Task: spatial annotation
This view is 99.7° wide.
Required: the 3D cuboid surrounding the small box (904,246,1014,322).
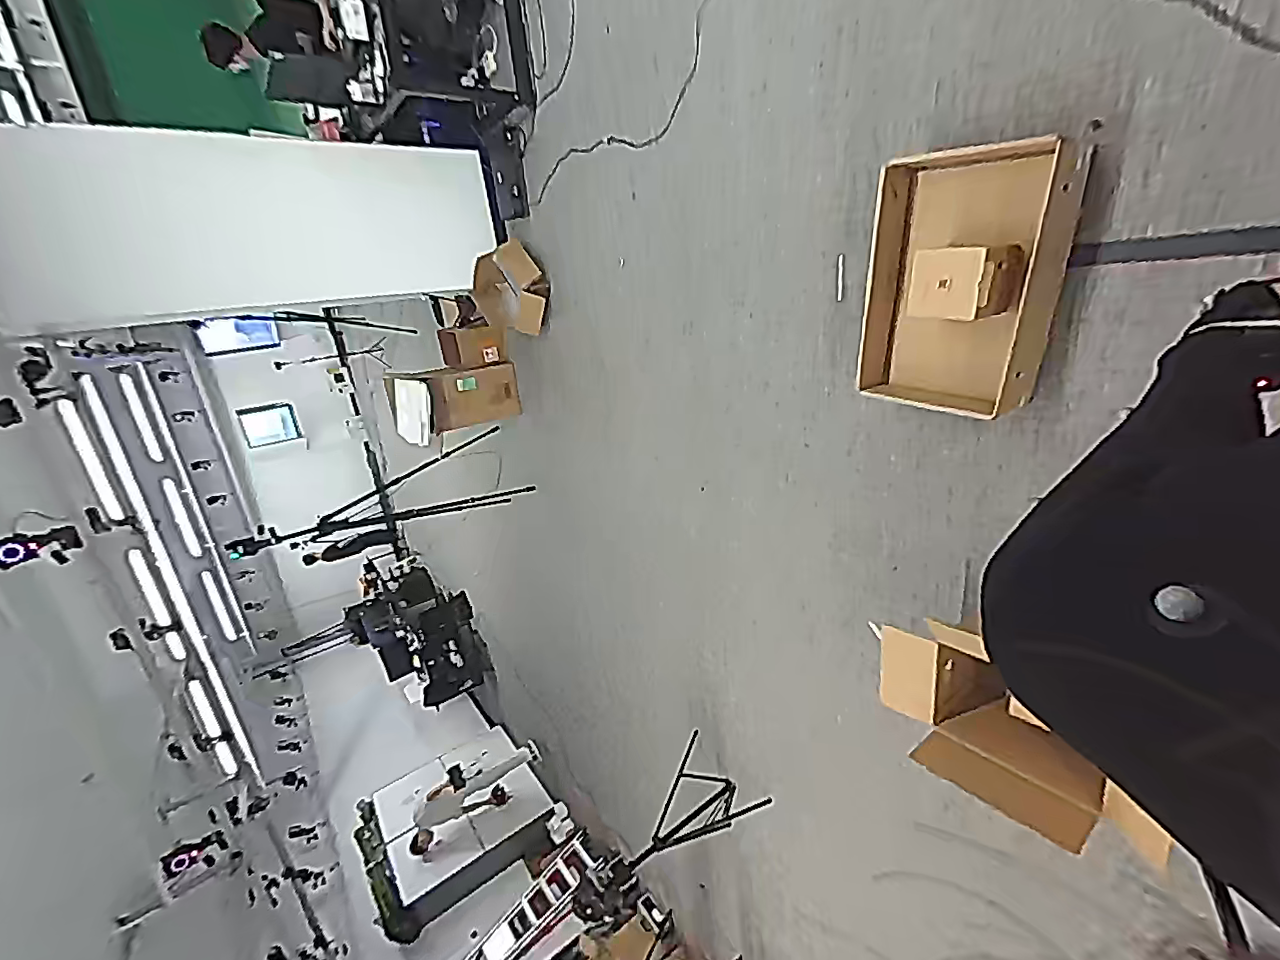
[{"bbox_3d":[0.810,-0.502,1.373,0.179,0.176,0.168,27,127,48],"label":"small box"}]
